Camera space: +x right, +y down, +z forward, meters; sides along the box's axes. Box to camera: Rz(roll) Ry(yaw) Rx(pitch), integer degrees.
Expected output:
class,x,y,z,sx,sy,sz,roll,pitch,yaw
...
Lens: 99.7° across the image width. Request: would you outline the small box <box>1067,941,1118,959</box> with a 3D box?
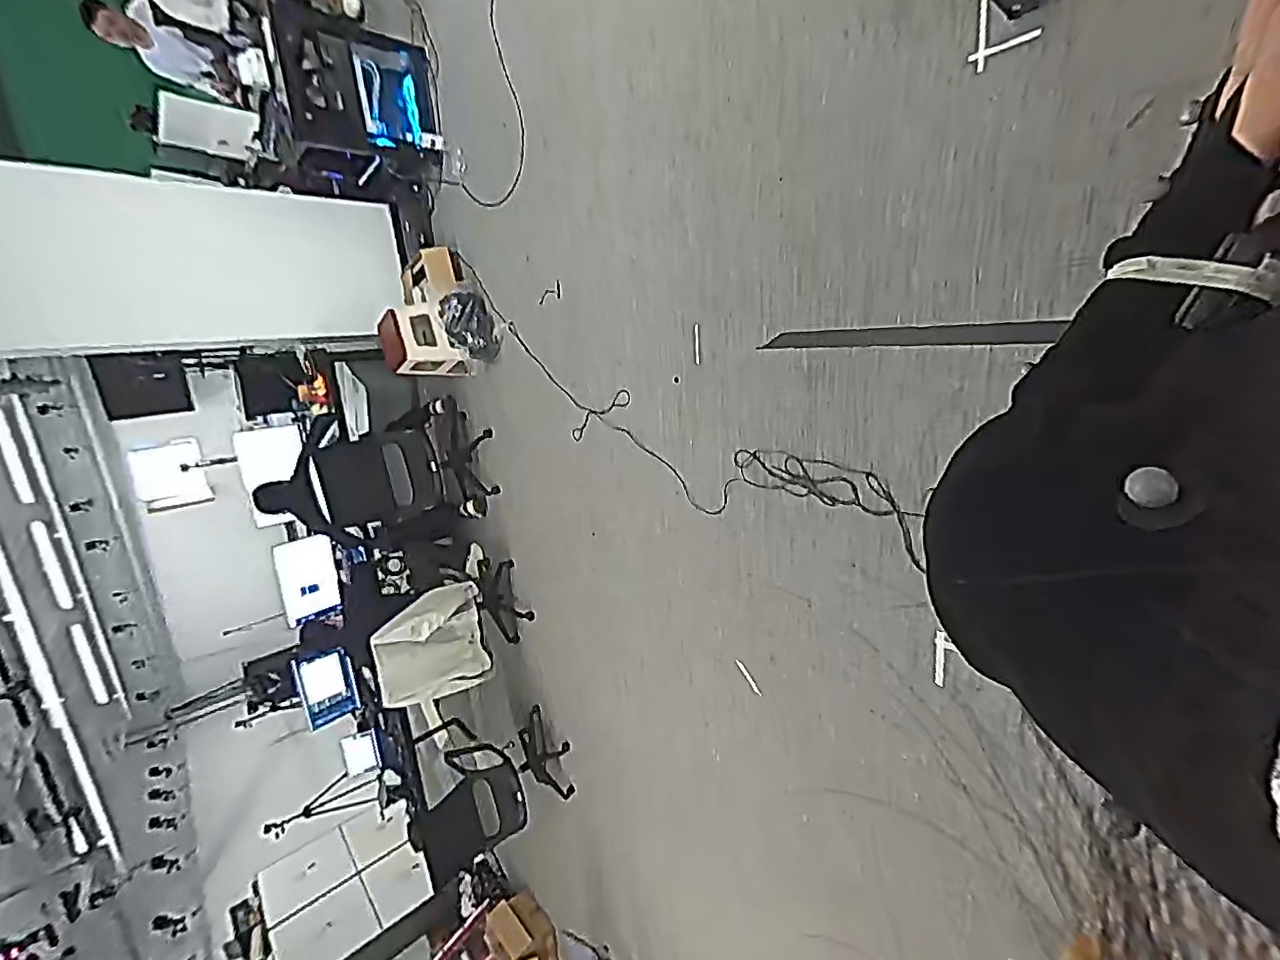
class,x,y,z,sx,sy,sz,roll,pitch,yaw
small box,1.182,1.335,1.375,0.179,0.176,0.168,21,118,43
